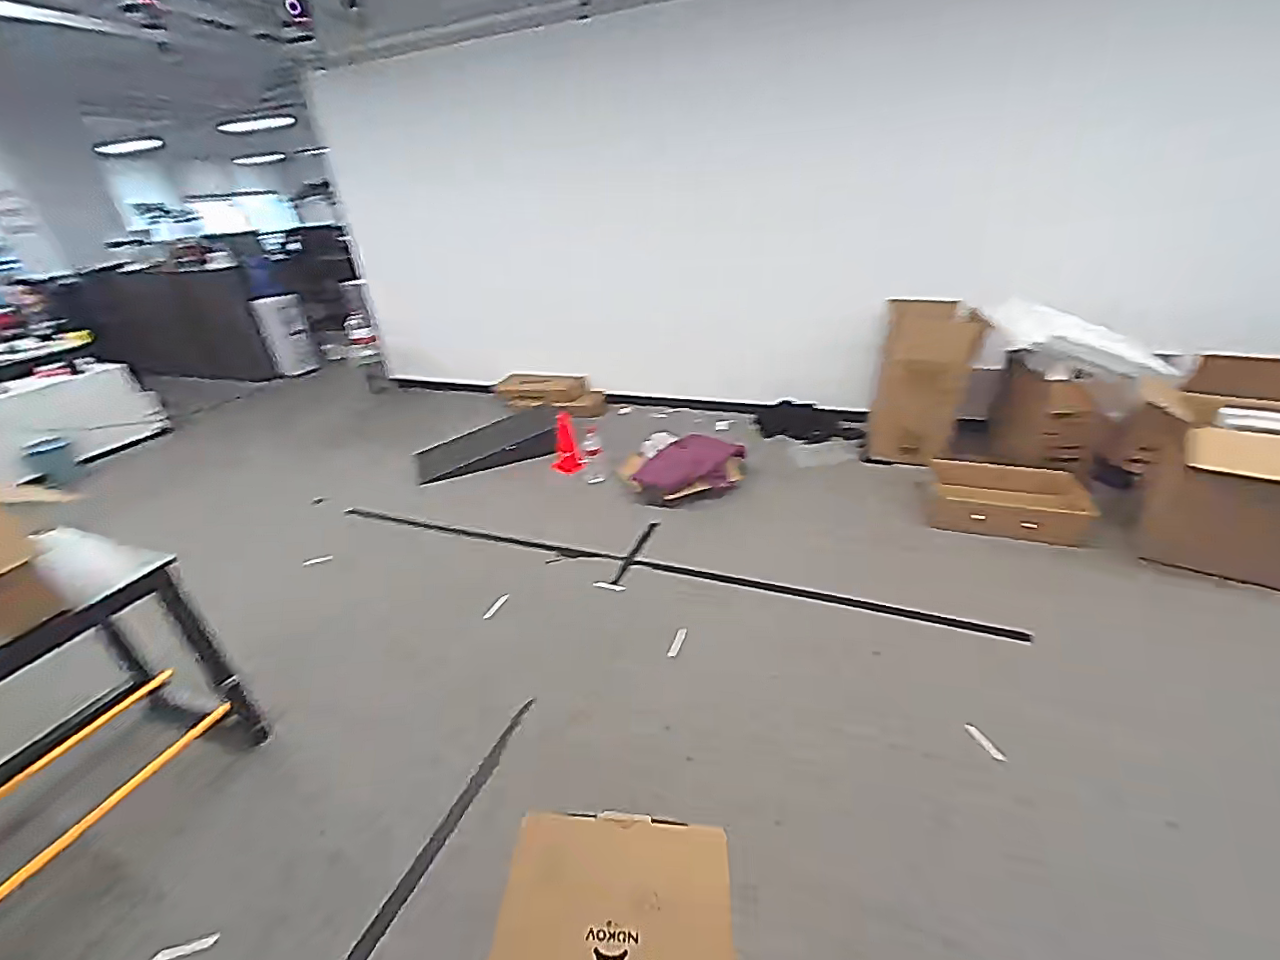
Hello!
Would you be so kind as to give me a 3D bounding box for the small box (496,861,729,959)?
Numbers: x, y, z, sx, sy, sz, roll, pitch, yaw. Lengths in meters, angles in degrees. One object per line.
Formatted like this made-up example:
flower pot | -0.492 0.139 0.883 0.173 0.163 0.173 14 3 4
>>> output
small box | -0.023 0.417 0.390 0.168 0.176 0.179 2 31 2
